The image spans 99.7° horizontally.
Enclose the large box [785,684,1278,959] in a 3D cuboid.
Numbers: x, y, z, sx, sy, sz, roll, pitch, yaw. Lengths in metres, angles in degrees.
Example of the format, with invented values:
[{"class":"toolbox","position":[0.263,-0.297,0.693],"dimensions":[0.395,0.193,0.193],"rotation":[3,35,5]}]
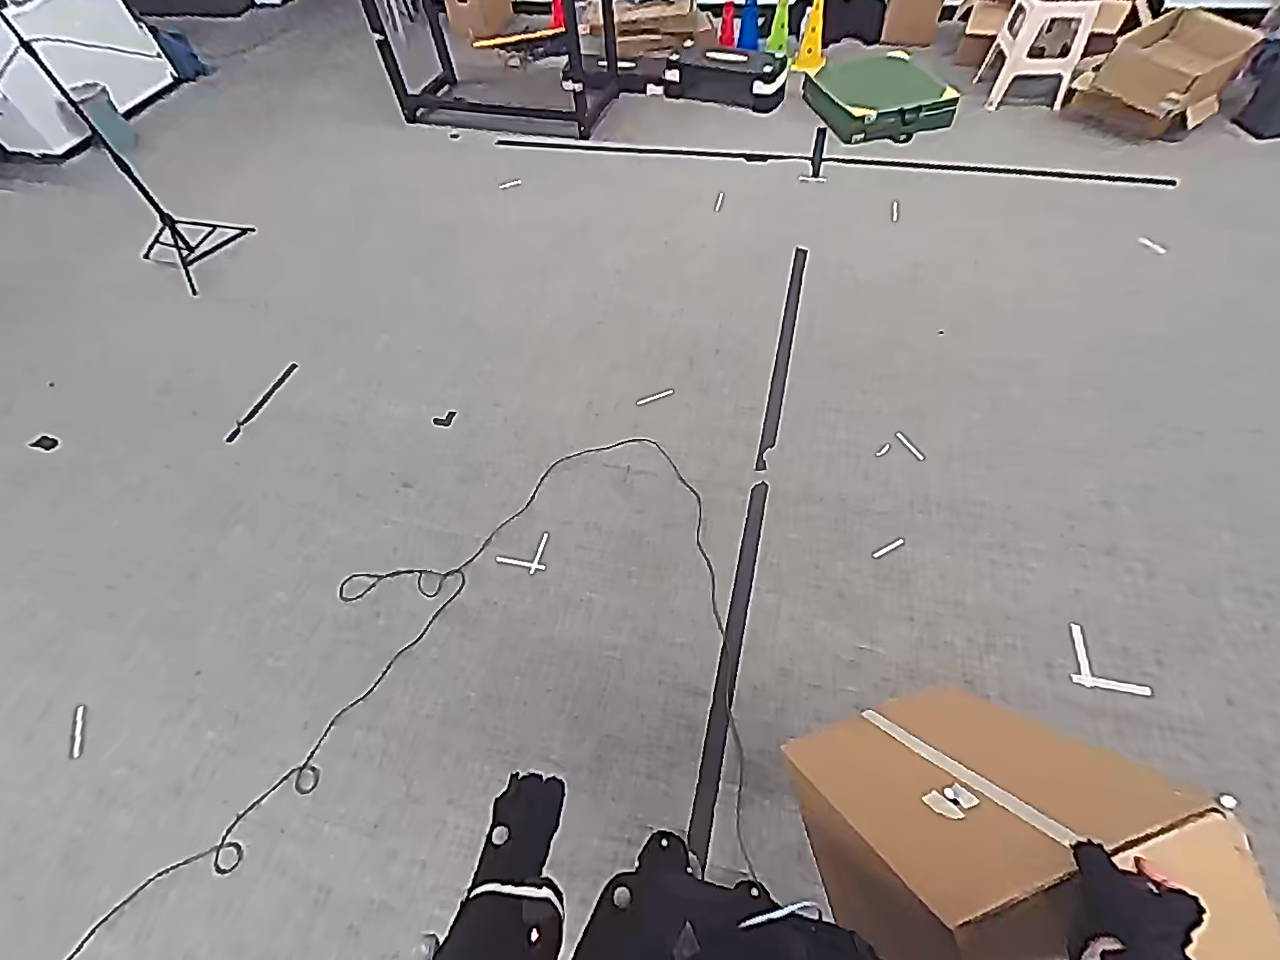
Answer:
[{"class":"large box","position":[0.444,0.515,0.691],"dimensions":[0.320,0.408,0.320],"rotation":[-17,89,-8]}]
